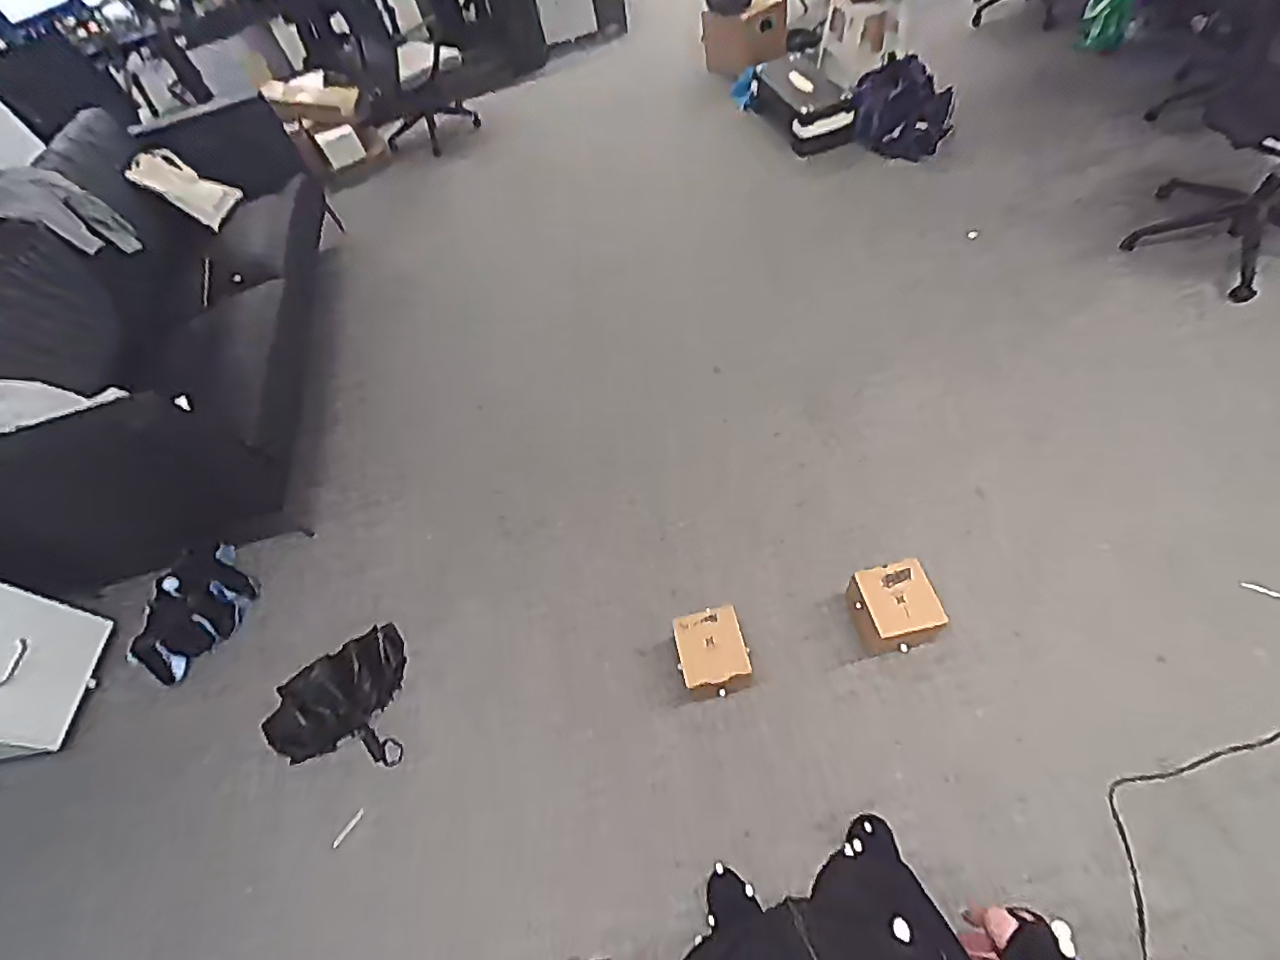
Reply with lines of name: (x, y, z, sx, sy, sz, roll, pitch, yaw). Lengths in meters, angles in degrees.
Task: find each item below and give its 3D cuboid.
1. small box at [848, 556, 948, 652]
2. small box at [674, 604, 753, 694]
small box: (0.655, 0.324, 1.400, 0.168, 0.176, 0.179, -15, 57, 4)
small box: (0.197, 0.453, 1.426, 0.168, 0.176, 0.179, -15, 56, 3)
